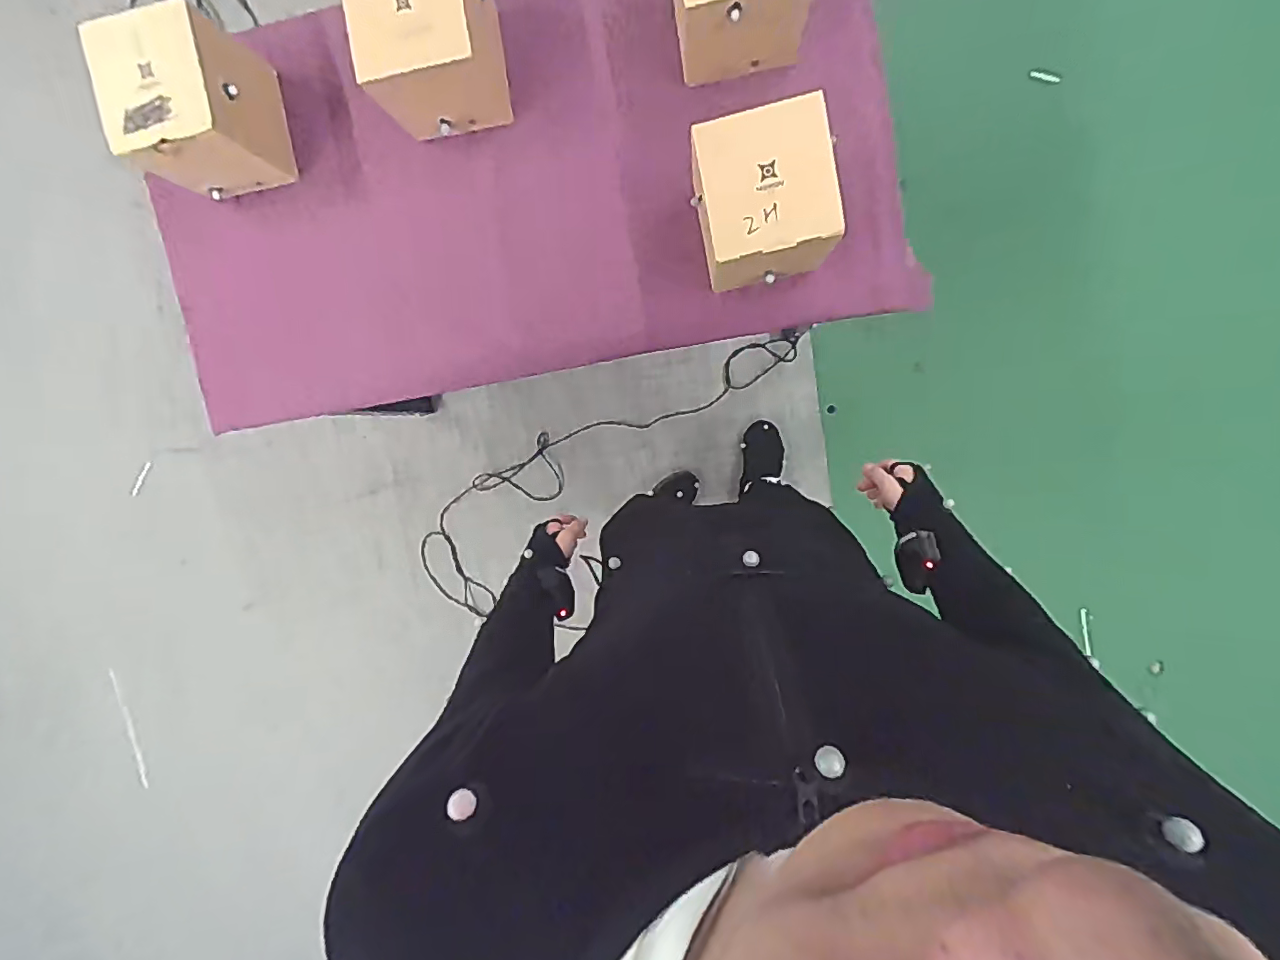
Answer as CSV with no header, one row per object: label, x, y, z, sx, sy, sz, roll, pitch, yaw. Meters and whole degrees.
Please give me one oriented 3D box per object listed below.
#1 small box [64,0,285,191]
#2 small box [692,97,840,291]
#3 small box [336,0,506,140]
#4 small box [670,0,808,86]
small box,-0.675,-0.557,0.808,0.168,0.176,0.179,-9,97,5
small box,0.166,-0.386,0.763,0.168,0.176,0.179,-10,97,7
small box,-0.306,-0.630,0.774,0.168,0.176,0.179,-7,98,6
small box,0.125,-0.687,0.731,0.168,0.176,0.179,-9,97,6
